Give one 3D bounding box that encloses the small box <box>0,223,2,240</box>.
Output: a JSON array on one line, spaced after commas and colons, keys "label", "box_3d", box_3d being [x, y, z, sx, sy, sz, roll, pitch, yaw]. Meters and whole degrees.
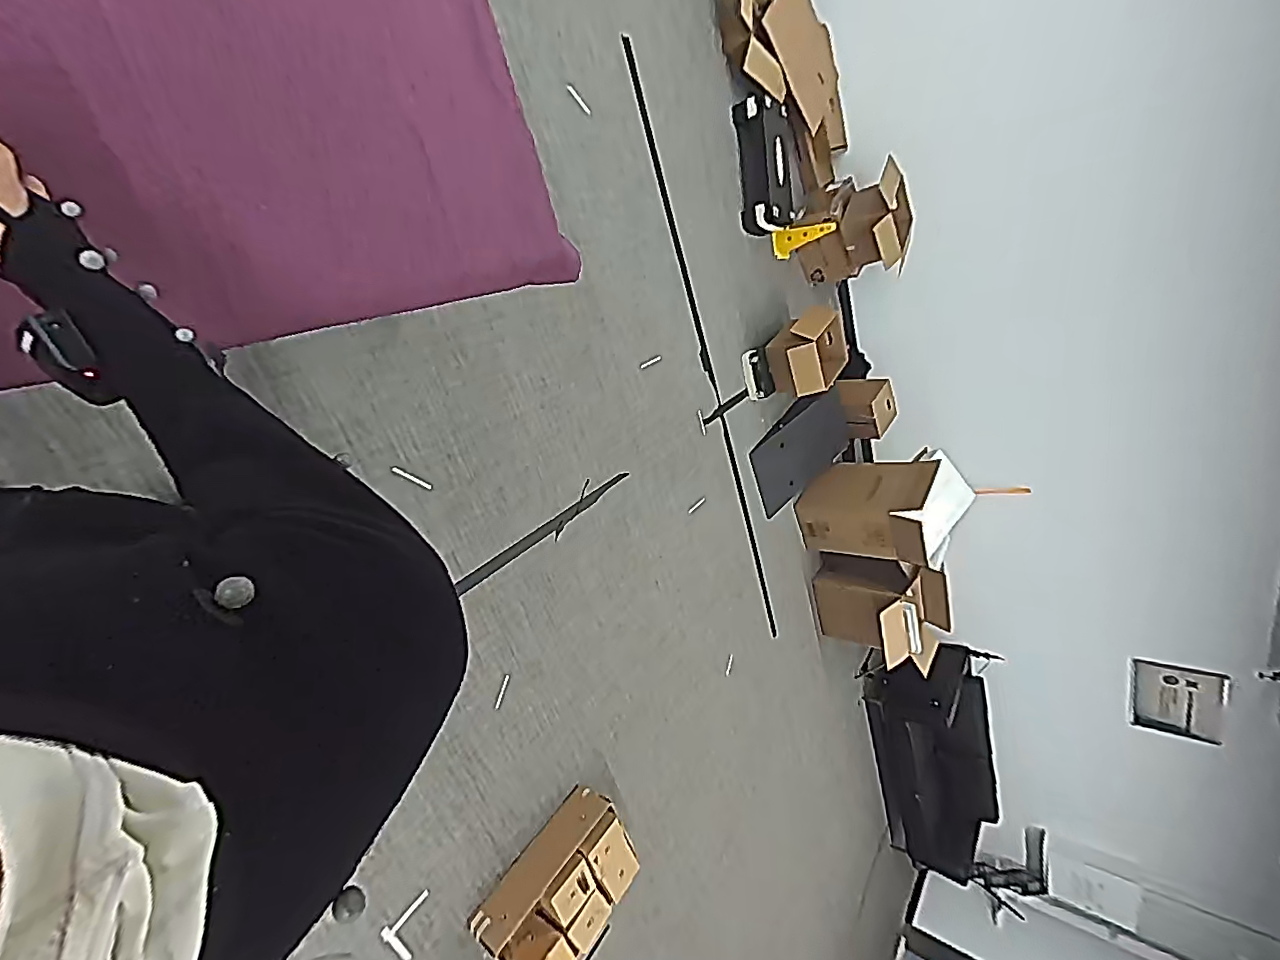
[{"label": "small box", "box_3d": [-0.714, -0.313, 0.469, 0.168, 0.176, 0.179, -27, 107, -45]}]
